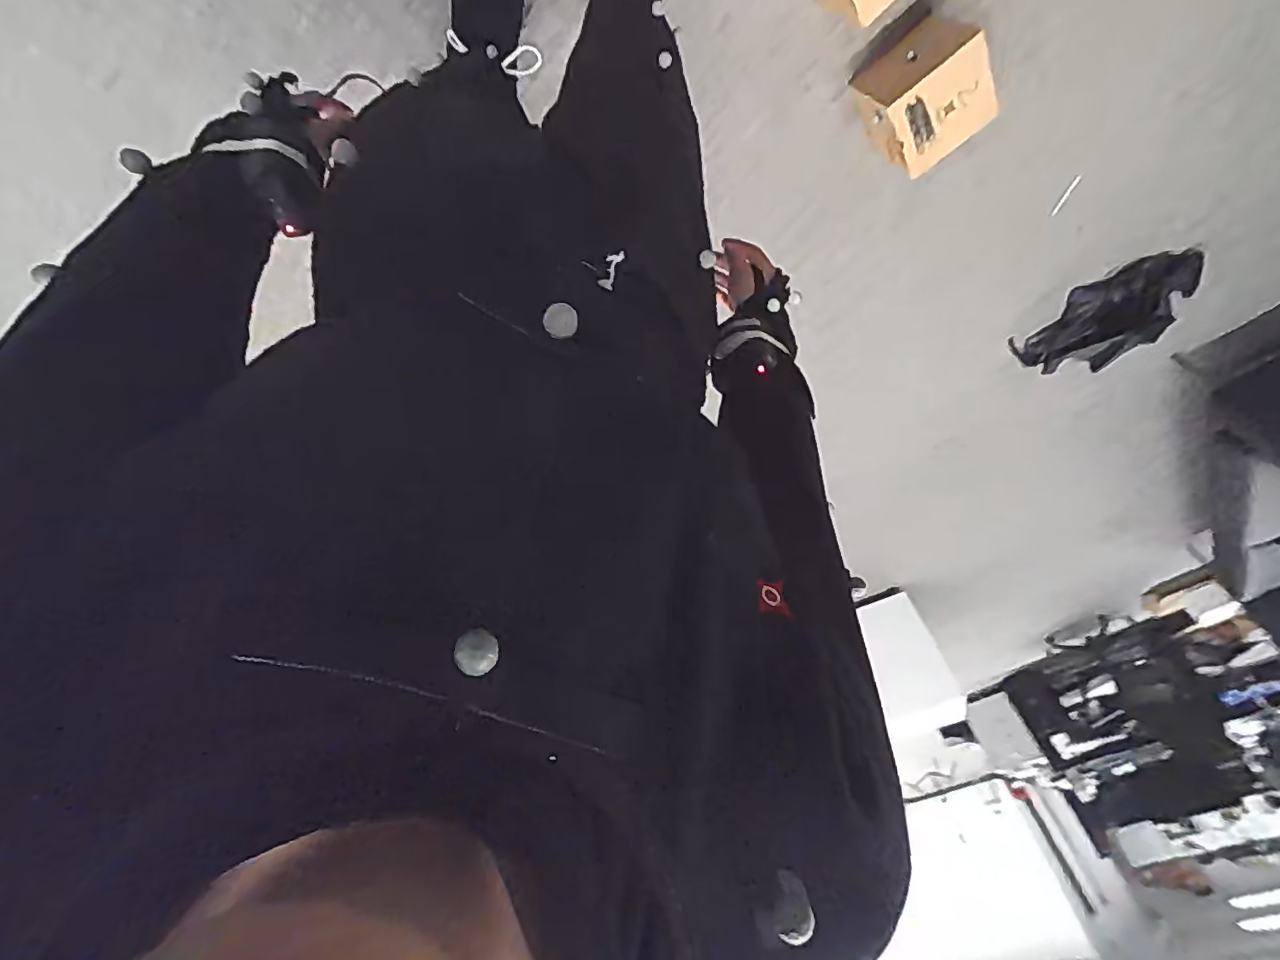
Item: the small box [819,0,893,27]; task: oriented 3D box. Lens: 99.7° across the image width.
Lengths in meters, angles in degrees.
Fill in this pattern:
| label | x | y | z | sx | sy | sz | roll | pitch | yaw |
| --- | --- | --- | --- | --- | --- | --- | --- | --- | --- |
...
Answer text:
| label | x | y | z | sx | sy | sz | roll | pitch | yaw |
| --- | --- | --- | --- | --- | --- | --- | --- | --- | --- |
| small box | 0.353 | -0.862 | 0.828 | 0.179 | 0.176 | 0.168 | -36 | 136 | 25 |
